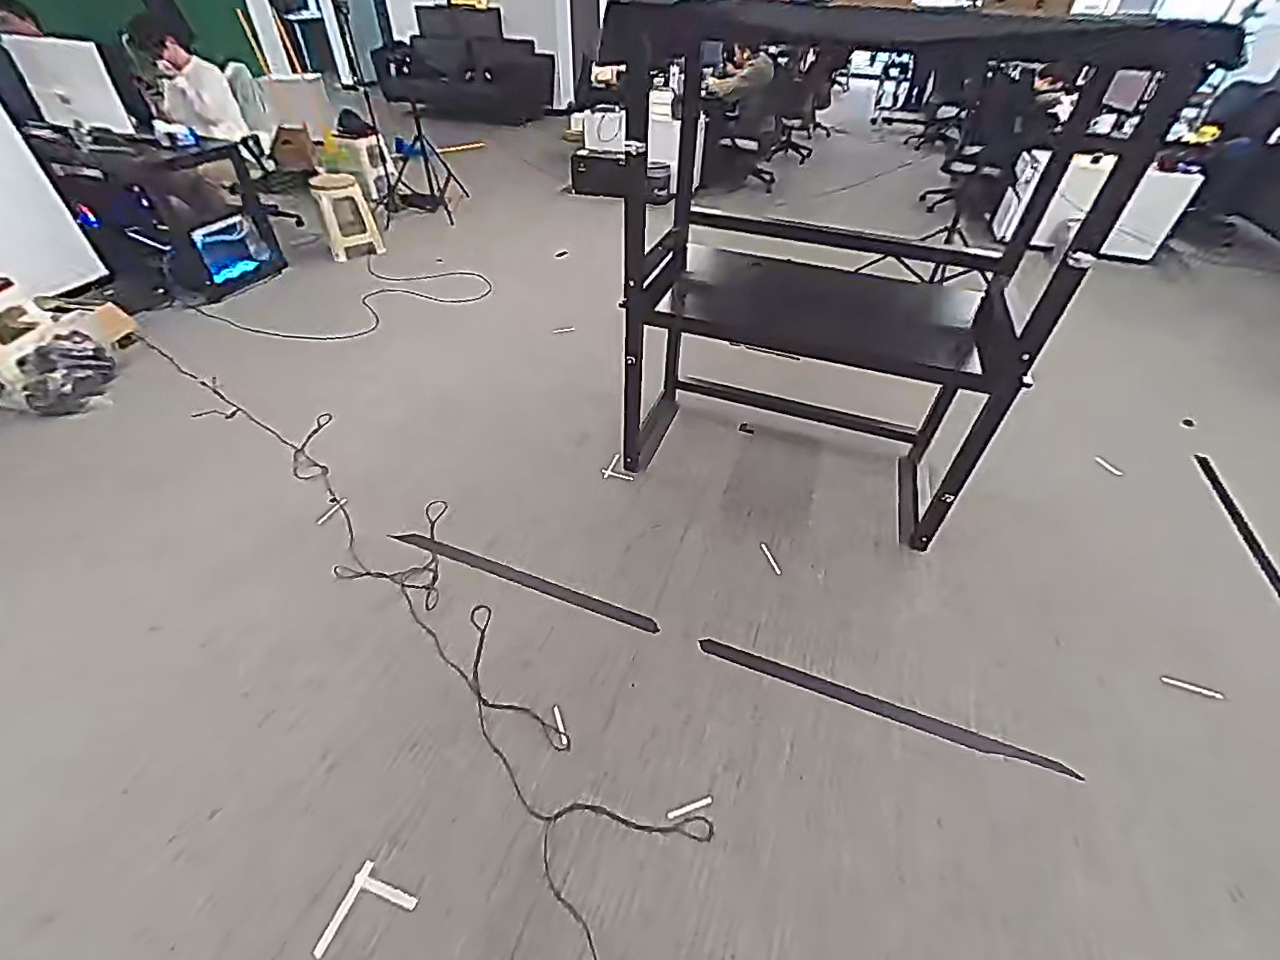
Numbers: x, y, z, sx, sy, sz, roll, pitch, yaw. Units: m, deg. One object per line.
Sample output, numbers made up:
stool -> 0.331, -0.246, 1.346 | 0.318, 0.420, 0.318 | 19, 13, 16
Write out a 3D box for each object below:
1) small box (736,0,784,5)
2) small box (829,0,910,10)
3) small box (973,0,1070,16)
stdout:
small box -> 0.253, -1.185, 1.211 | 0.168, 0.176, 0.179 | 16, 43, 12
small box -> 0.510, -1.117, 1.148 | 0.168, 0.176, 0.179 | 16, 43, 15
small box -> 0.792, -1.042, 1.082 | 0.168, 0.176, 0.179 | 18, 43, 17
